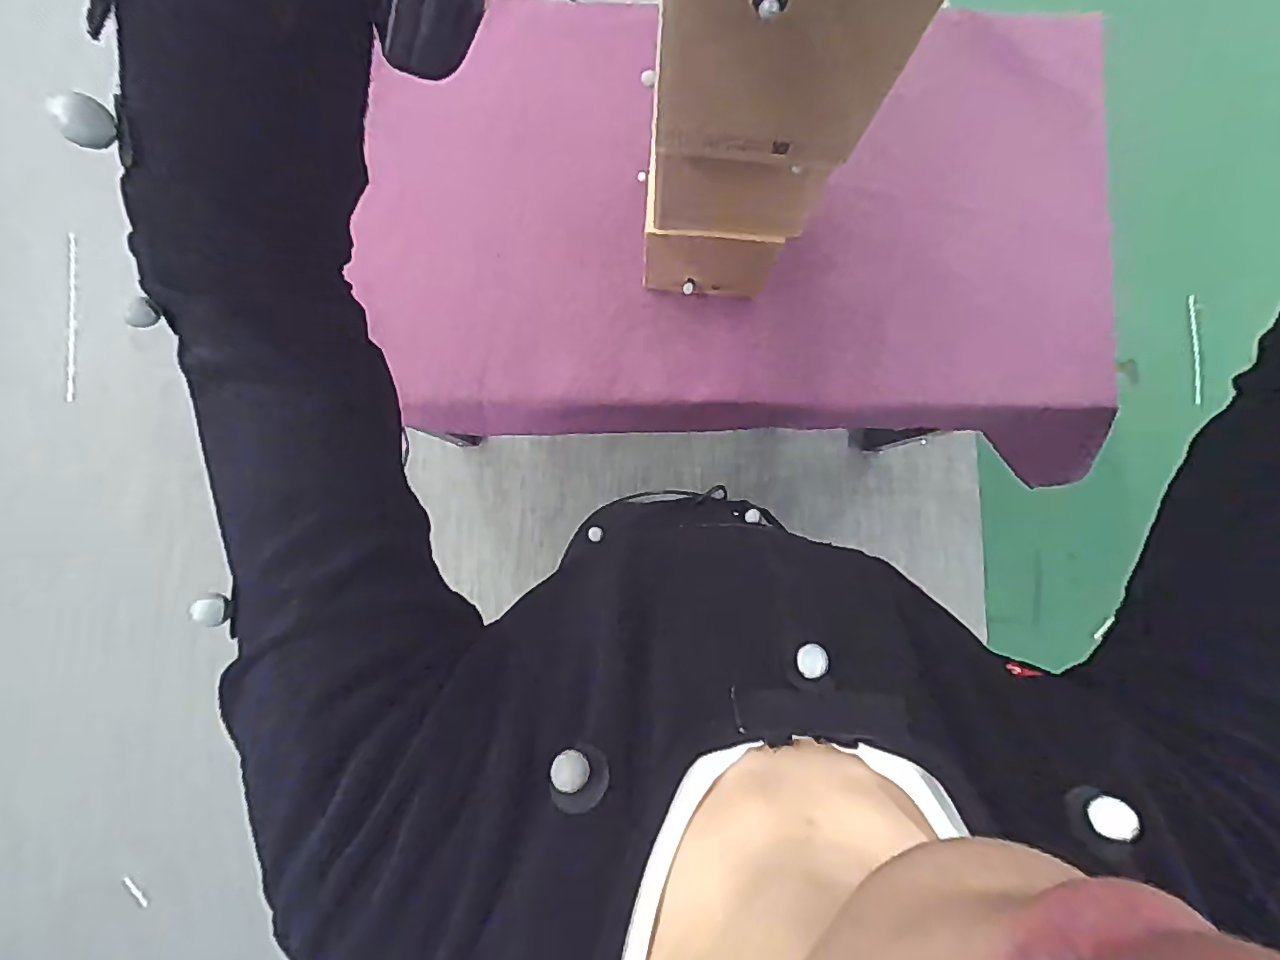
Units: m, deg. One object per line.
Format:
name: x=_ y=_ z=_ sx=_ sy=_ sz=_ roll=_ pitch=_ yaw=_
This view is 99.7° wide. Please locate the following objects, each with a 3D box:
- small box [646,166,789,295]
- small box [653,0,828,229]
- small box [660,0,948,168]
small box: x=0.097 y=-0.365 z=0.707 sx=0.168 sy=0.176 sz=0.179 roll=4 pitch=87 yaw=1
small box: x=0.104 y=-0.376 z=0.546 sx=0.179 sy=0.176 sz=0.168 roll=3 pitch=87 yaw=0
small box: x=0.104 y=-0.362 z=0.381 sx=0.168 sy=0.176 sz=0.179 roll=5 pitch=86 yaw=0
